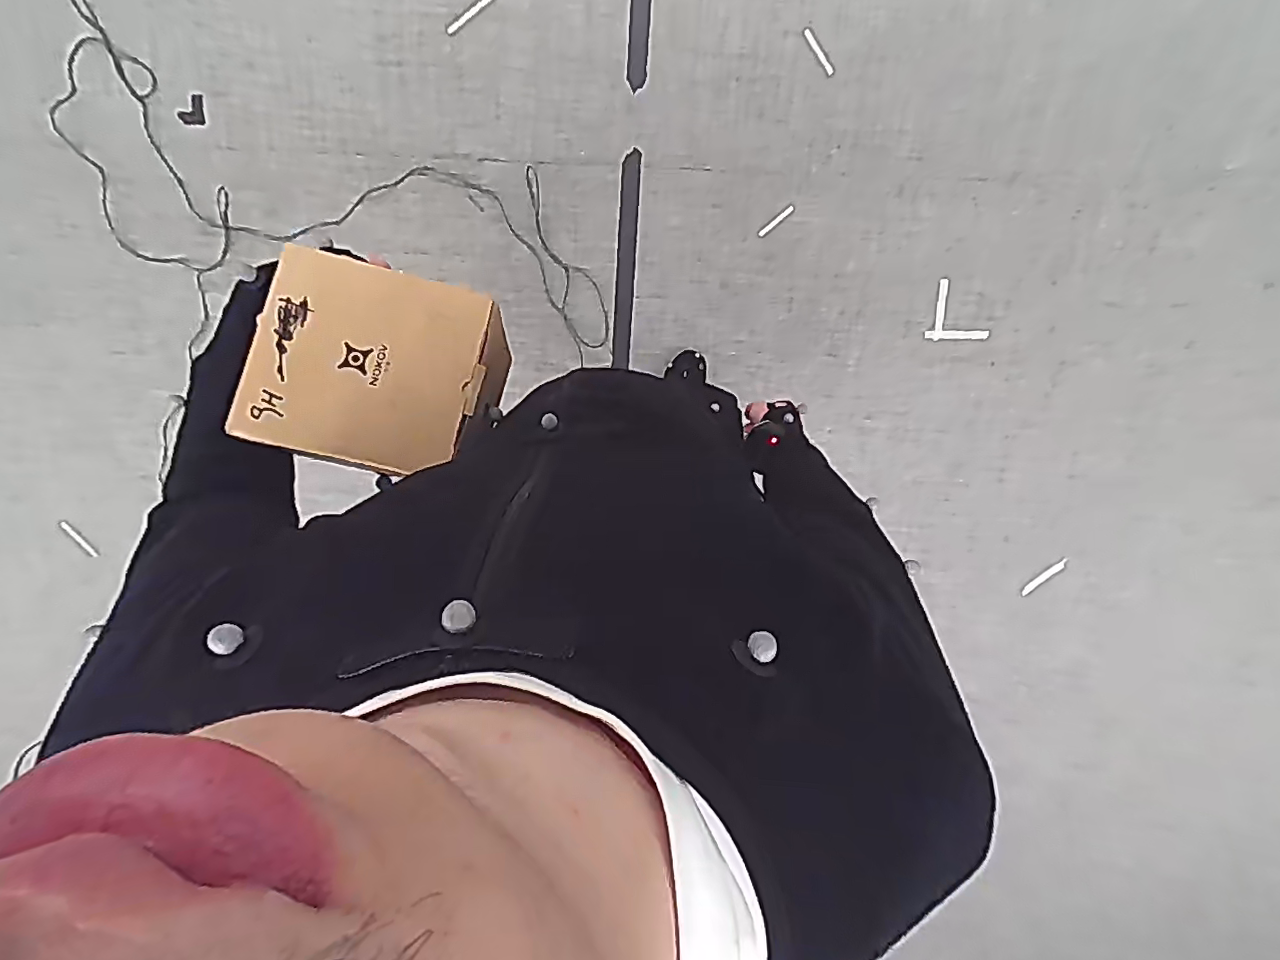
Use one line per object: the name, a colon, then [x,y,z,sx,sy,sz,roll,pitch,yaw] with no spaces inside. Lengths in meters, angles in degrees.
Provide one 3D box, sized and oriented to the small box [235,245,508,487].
small box: [-0.236,-0.092,0.530,0.179,0.176,0.168,13,83,-8]
